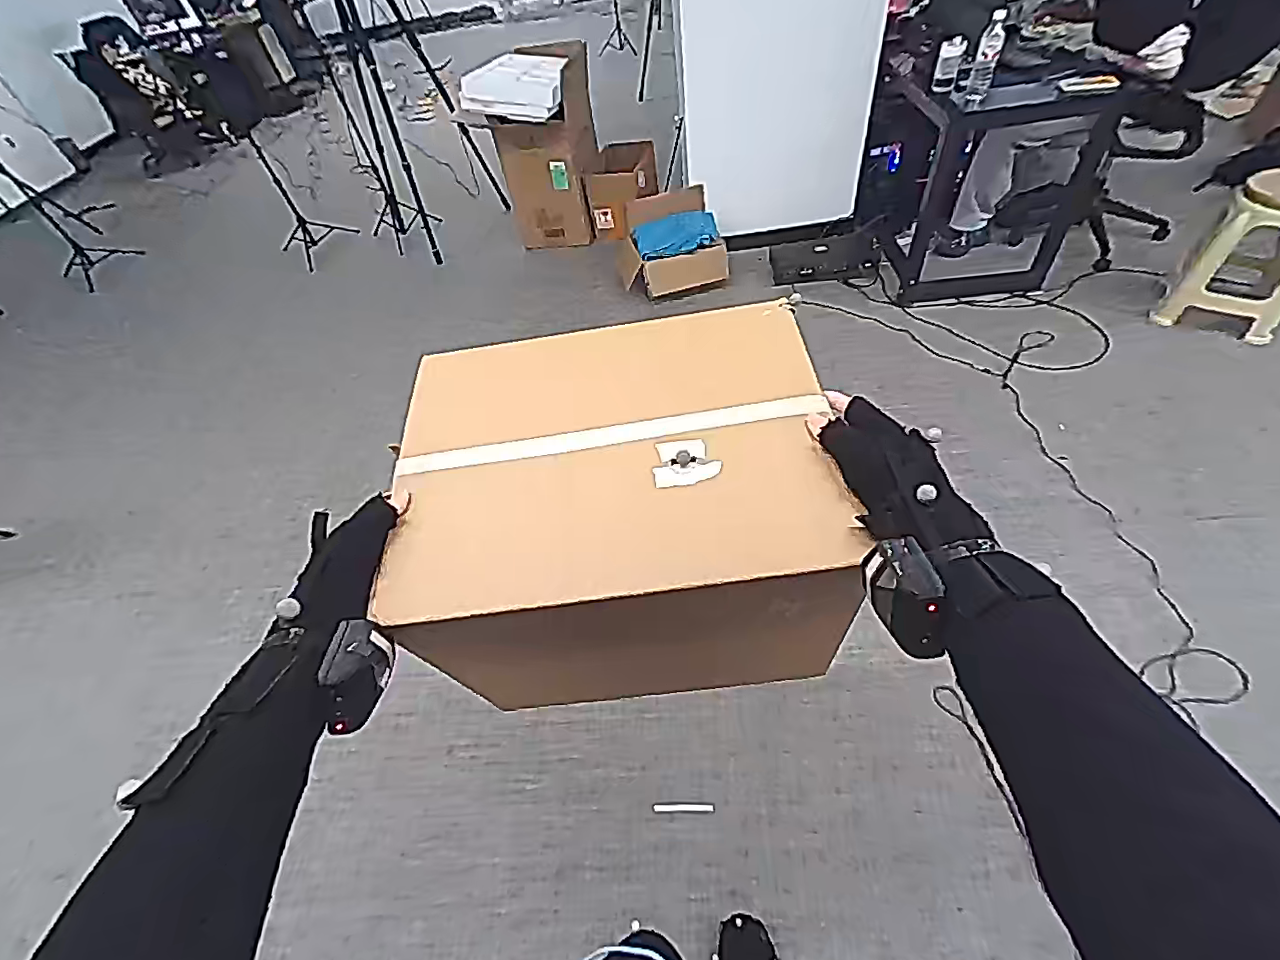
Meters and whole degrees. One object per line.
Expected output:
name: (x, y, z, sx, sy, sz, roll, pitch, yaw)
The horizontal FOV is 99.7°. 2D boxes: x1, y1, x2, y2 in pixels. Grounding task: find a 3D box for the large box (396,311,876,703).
large box: (-0.004, 0.048, 0.641, 0.408, 0.320, 0.320, -8, 55, 3)
